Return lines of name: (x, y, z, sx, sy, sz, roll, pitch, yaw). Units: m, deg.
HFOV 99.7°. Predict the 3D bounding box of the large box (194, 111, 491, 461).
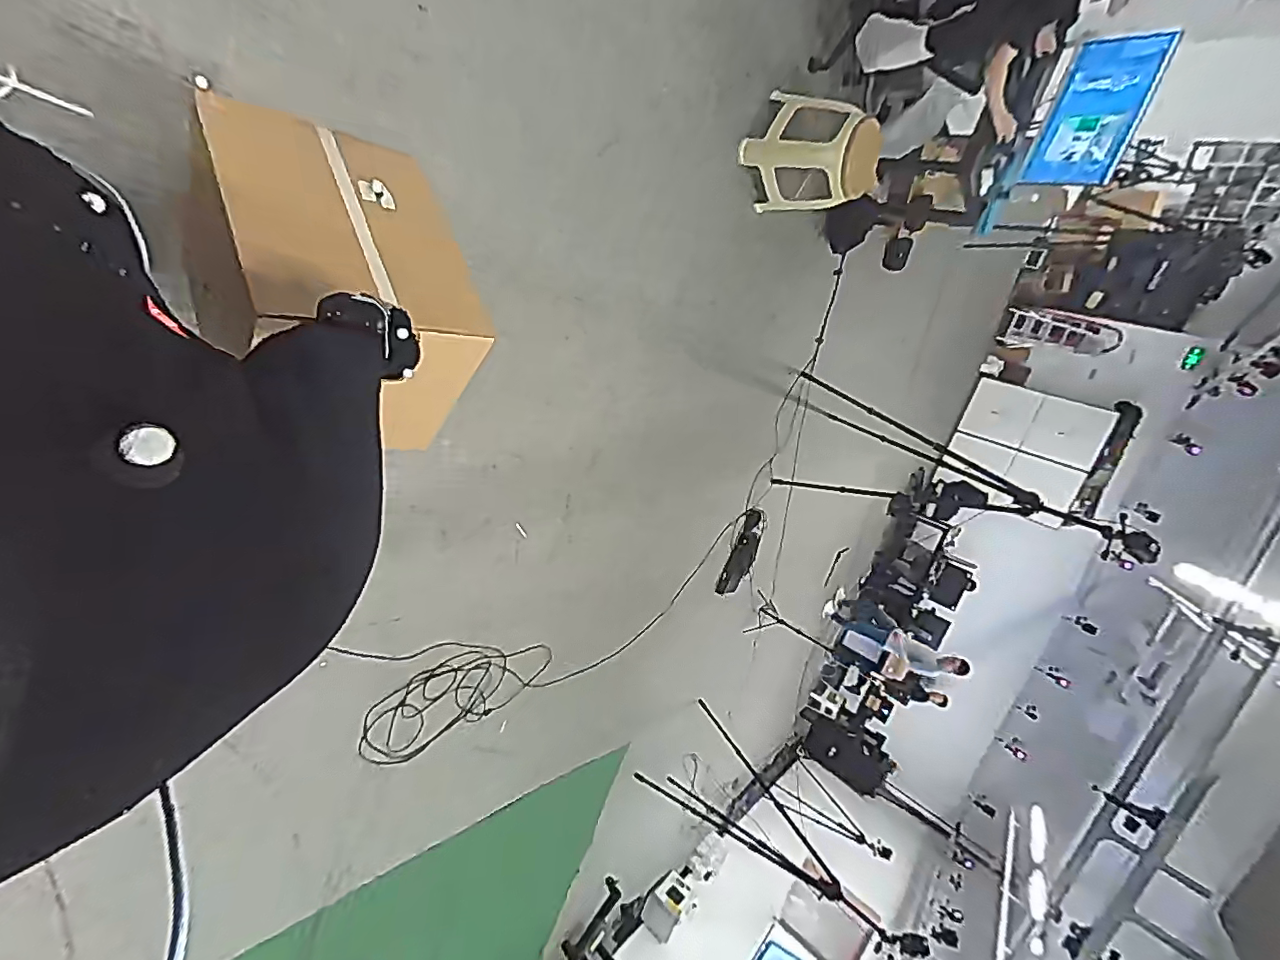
large box: (-0.508, -0.288, 0.897, 0.320, 0.408, 0.320, -8, 155, -45)
